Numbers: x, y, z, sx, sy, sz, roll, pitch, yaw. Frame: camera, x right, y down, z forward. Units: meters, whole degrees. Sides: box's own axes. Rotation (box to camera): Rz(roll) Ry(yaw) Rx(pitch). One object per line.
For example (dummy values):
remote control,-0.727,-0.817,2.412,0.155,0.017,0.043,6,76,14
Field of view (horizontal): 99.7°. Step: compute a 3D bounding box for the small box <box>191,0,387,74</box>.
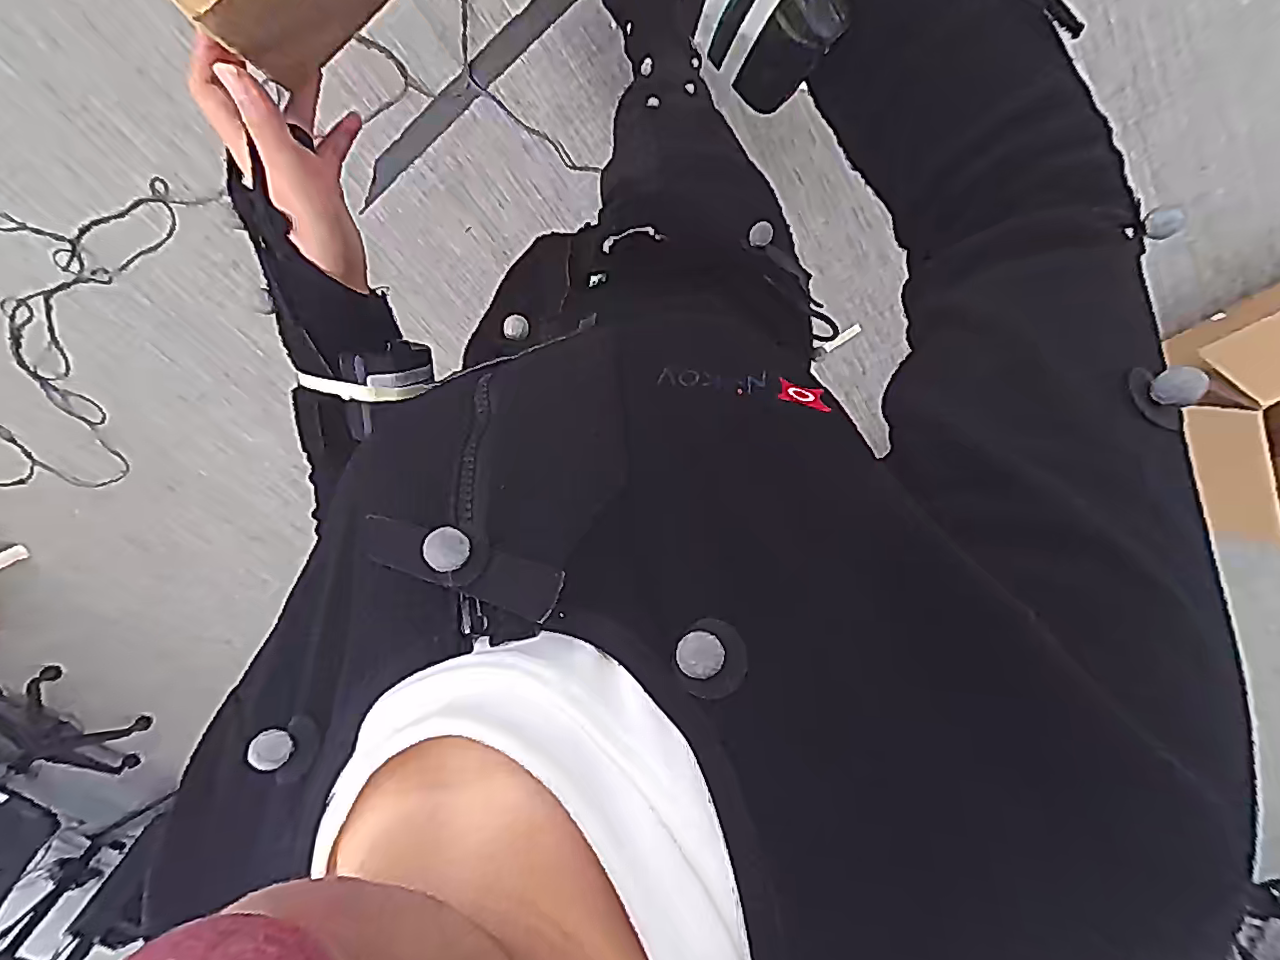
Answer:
small box,-0.175,-0.321,0.228,0.179,0.176,0.168,-41,123,4
